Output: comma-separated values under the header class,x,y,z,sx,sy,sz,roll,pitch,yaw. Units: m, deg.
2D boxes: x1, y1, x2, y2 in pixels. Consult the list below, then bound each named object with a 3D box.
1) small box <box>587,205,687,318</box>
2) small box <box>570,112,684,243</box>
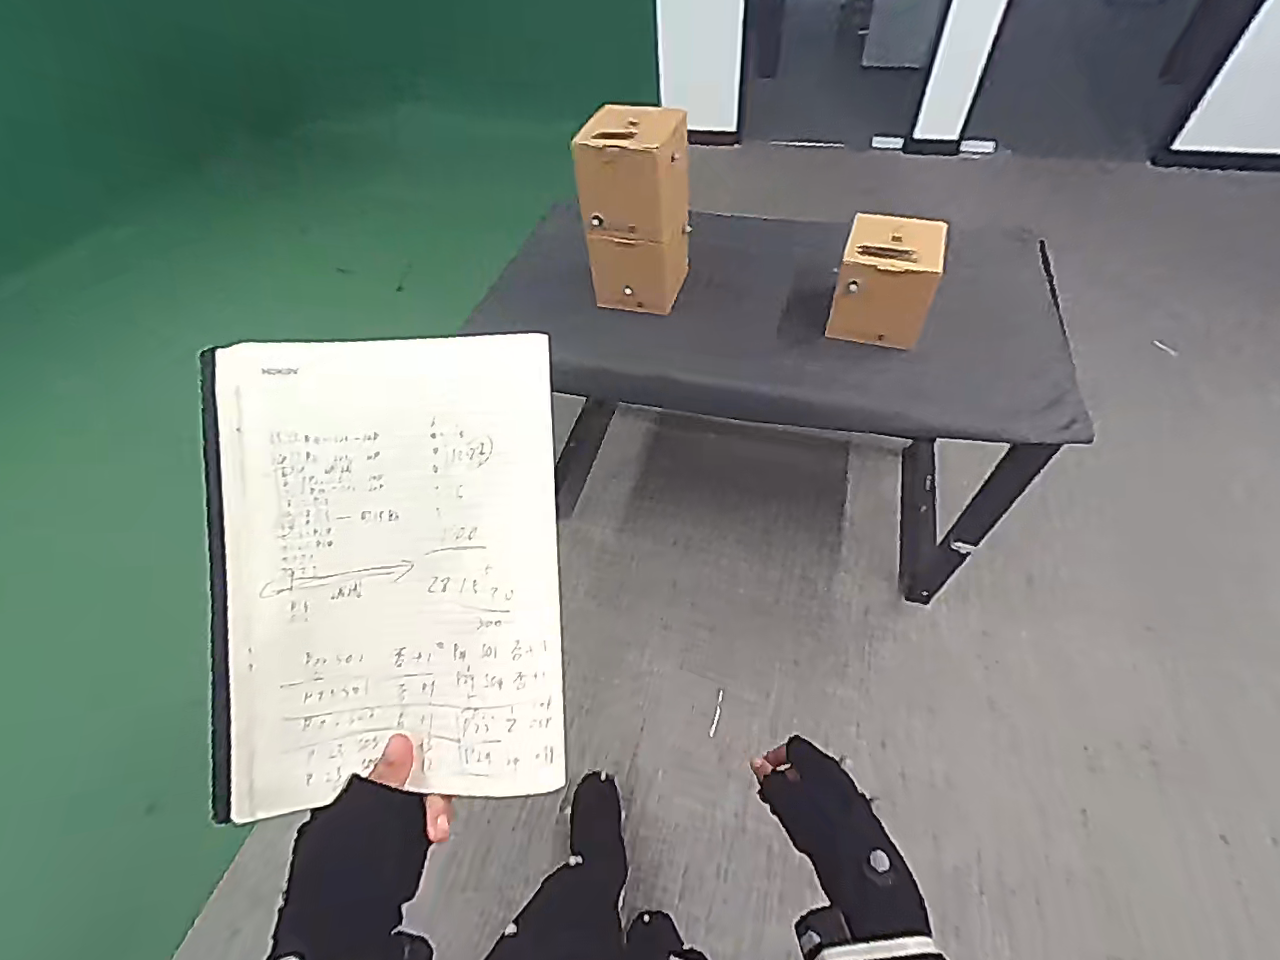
class,x,y,z,sx,sy,sz,roll,pitch,yaw
small box,0.000,-0.479,1.170,0.168,0.176,0.179,11,55,14
small box,-0.014,-0.581,1.042,0.168,0.176,0.179,13,54,14
